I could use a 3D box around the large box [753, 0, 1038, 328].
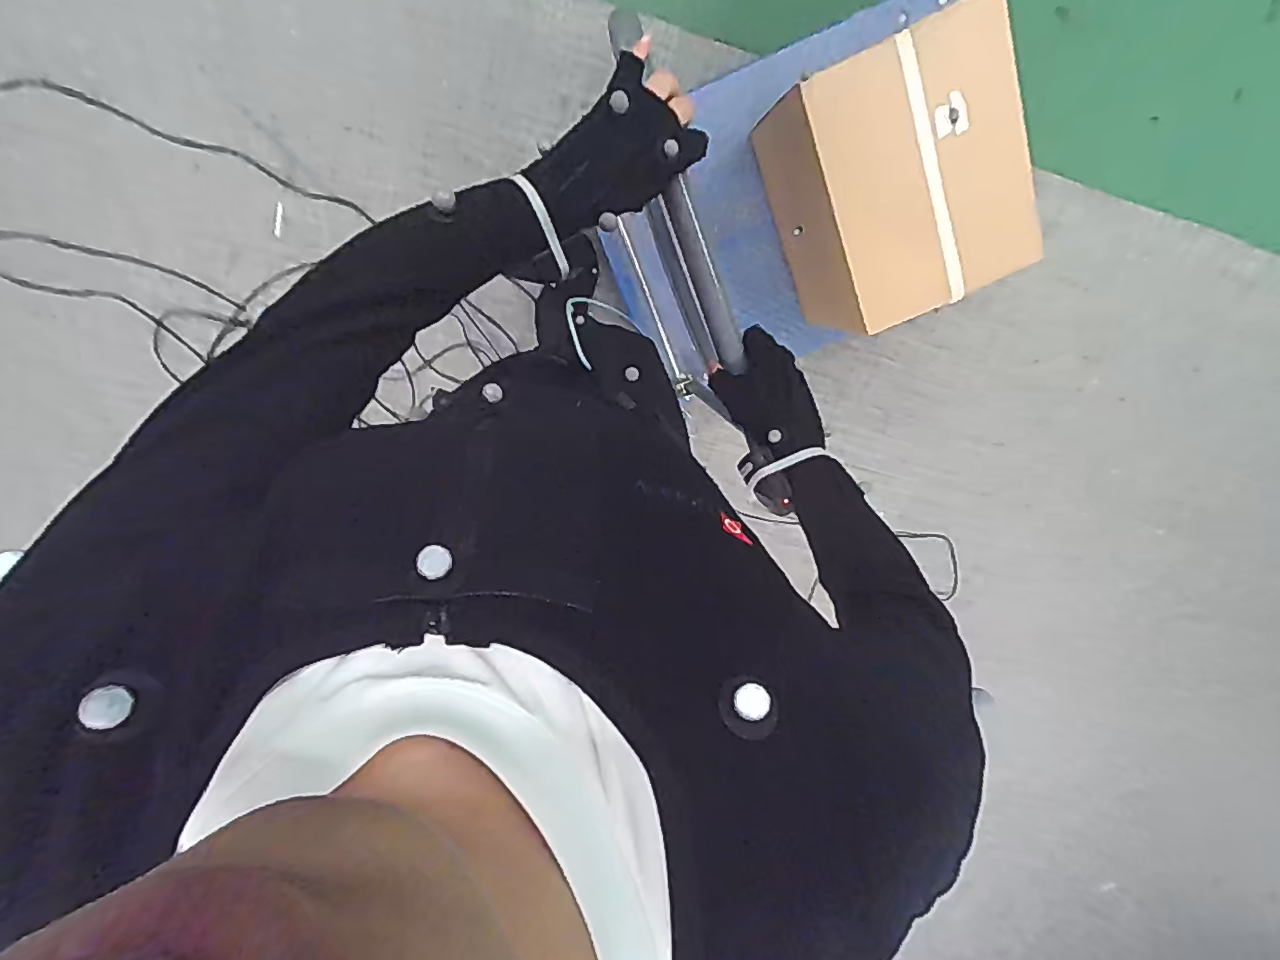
[{"bbox_3d":[0.447,-0.541,1.002,0.320,0.320,0.408,-24,109,5],"label":"large box"}]
